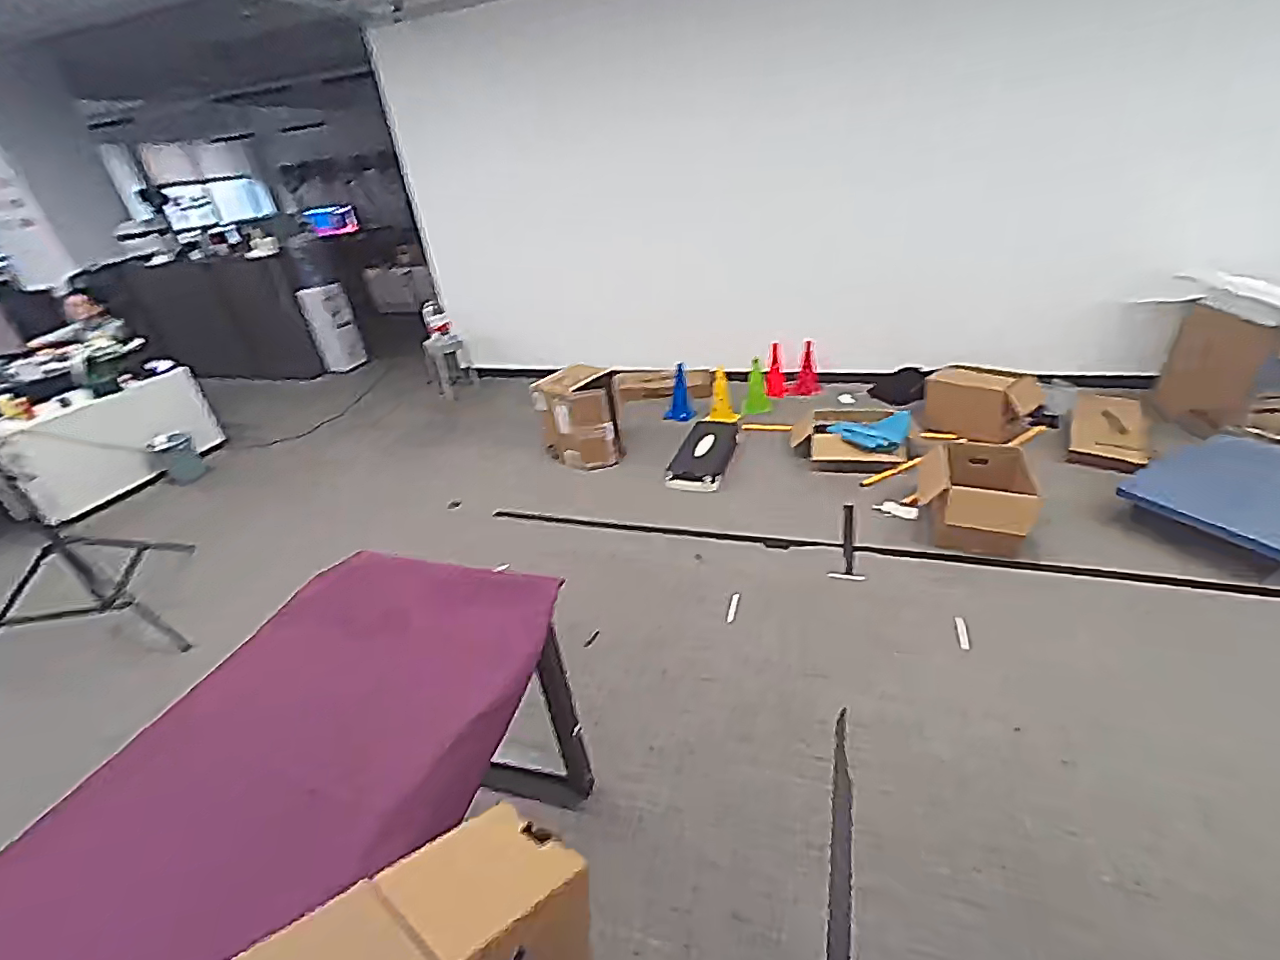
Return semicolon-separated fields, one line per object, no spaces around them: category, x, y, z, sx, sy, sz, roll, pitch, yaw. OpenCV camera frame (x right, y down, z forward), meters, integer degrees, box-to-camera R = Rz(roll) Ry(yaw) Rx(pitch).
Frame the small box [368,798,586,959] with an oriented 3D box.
small box;-0.172;0.505;0.597;0.168;0.176;0.179;1;5;42
